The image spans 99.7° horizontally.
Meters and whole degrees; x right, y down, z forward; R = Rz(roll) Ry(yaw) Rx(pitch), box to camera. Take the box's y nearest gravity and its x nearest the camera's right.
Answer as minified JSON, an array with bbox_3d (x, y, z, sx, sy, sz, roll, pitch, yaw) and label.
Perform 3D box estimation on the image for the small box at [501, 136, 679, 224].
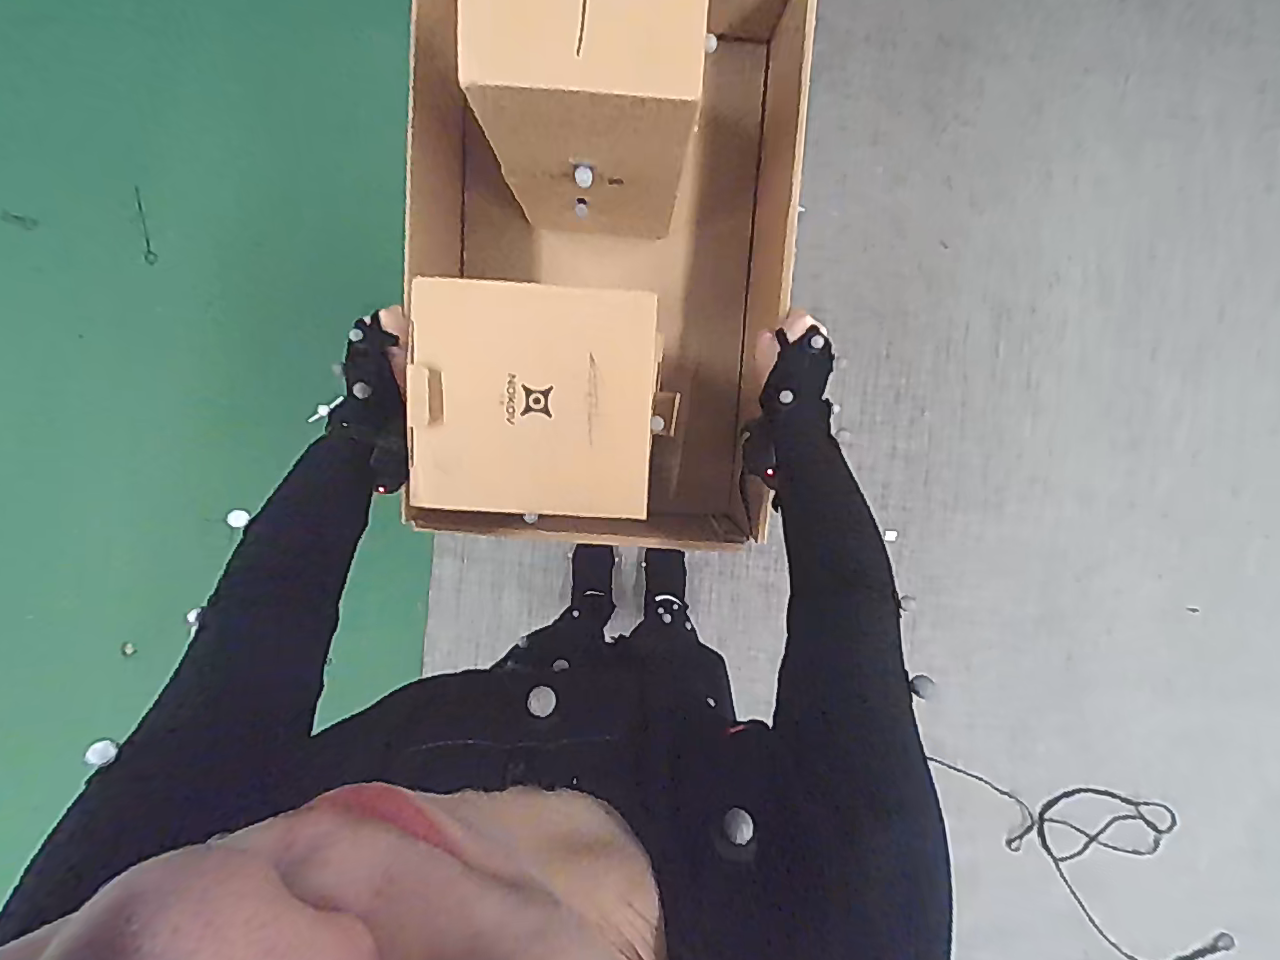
[{"bbox_3d":[-0.041,-0.392,0.589,0.179,0.176,0.168,4,100,-1],"label":"small box"}]

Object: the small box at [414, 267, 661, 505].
[{"bbox_3d":[-0.079,-0.076,0.472,0.179,0.176,0.168,2,98,-4],"label":"small box"}]

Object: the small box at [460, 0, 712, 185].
[{"bbox_3d":[-0.035,-0.362,0.427,0.168,0.176,0.179,3,100,-2],"label":"small box"}]
